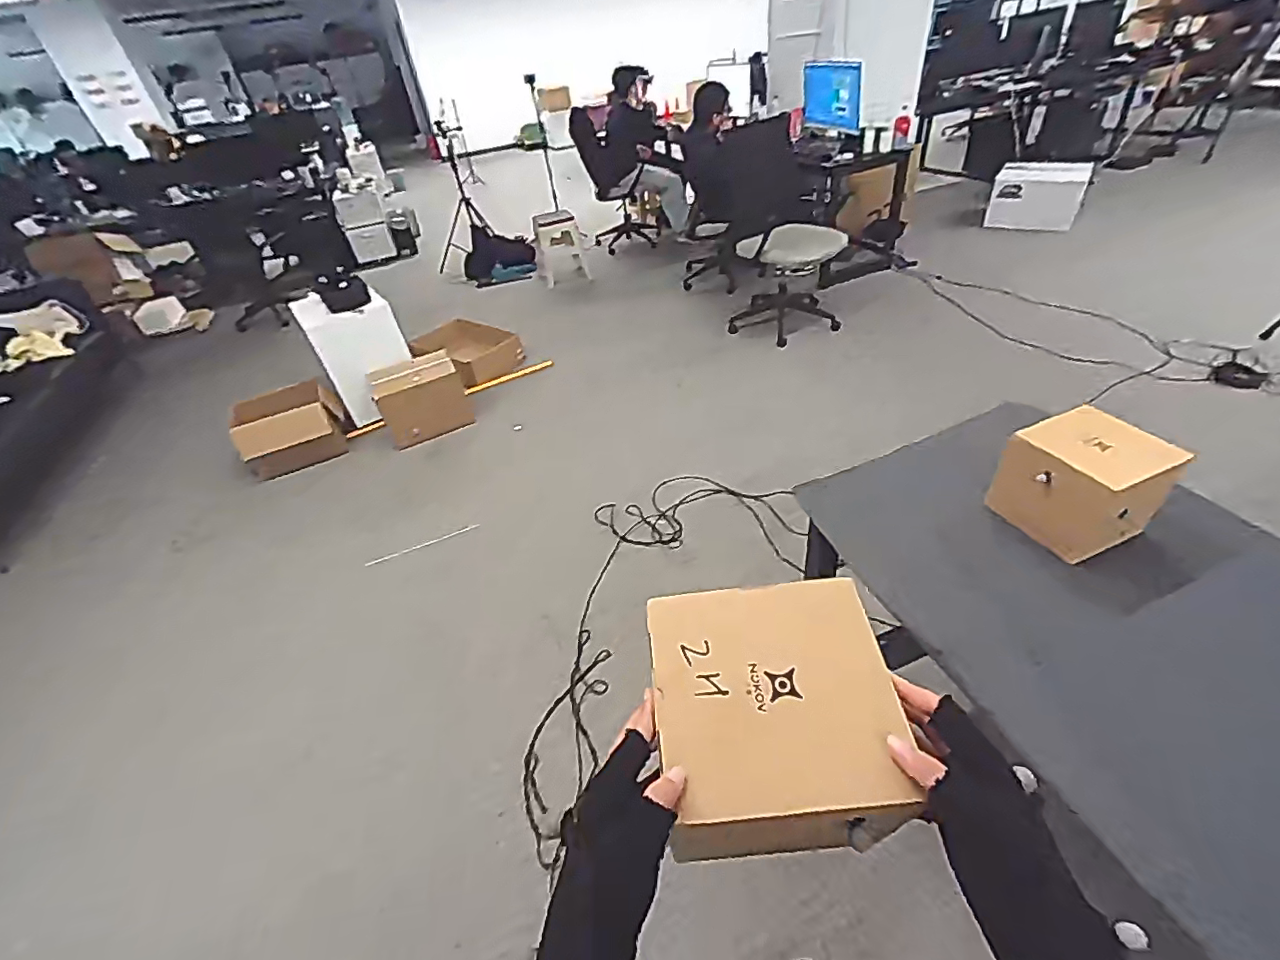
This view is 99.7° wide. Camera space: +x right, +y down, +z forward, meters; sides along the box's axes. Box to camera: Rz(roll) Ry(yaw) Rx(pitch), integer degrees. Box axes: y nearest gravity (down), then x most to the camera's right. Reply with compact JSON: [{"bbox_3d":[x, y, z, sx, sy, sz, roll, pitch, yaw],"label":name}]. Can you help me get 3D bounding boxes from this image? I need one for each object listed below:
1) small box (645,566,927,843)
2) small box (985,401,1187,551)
[{"bbox_3d":[0.101,0.193,0.457,0.179,0.176,0.168,-7,48,2],"label":"small box"},{"bbox_3d":[0.732,-0.002,0.910,0.168,0.176,0.179,-20,40,-12],"label":"small box"}]
